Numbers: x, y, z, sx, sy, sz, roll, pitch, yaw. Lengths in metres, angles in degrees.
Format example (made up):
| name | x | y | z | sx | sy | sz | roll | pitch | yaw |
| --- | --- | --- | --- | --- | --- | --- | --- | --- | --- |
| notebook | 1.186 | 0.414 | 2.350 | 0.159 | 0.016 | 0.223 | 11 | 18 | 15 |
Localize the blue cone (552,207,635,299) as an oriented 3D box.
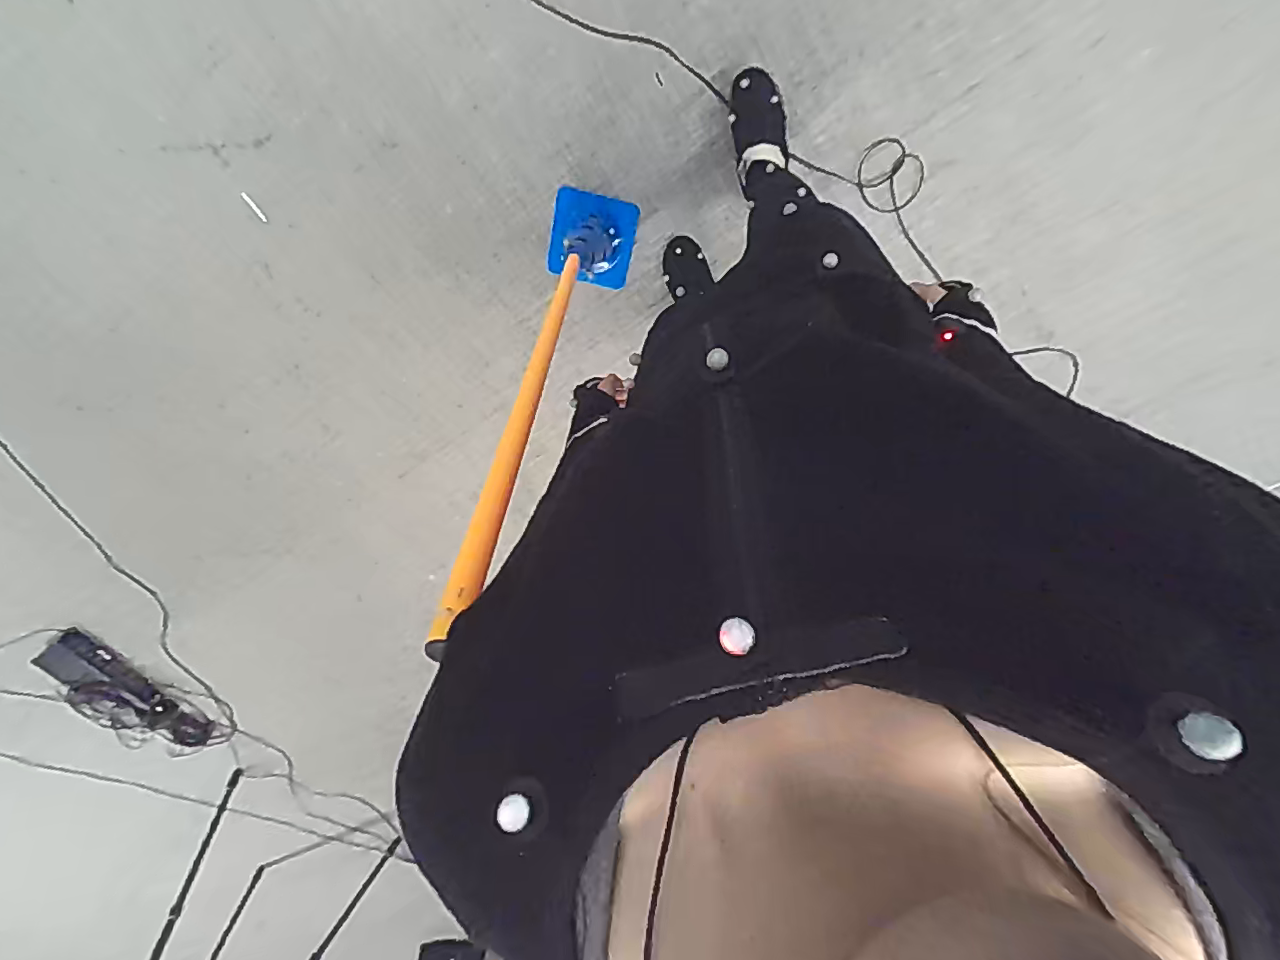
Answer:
| name | x | y | z | sx | sy | sz | roll | pitch | yaw |
| --- | --- | --- | --- | --- | --- | --- | --- | --- | --- |
| blue cone | -0.118 | -0.459 | 1.158 | 0.192 | 0.380 | 0.193 | 11 | 120 | -4 |
